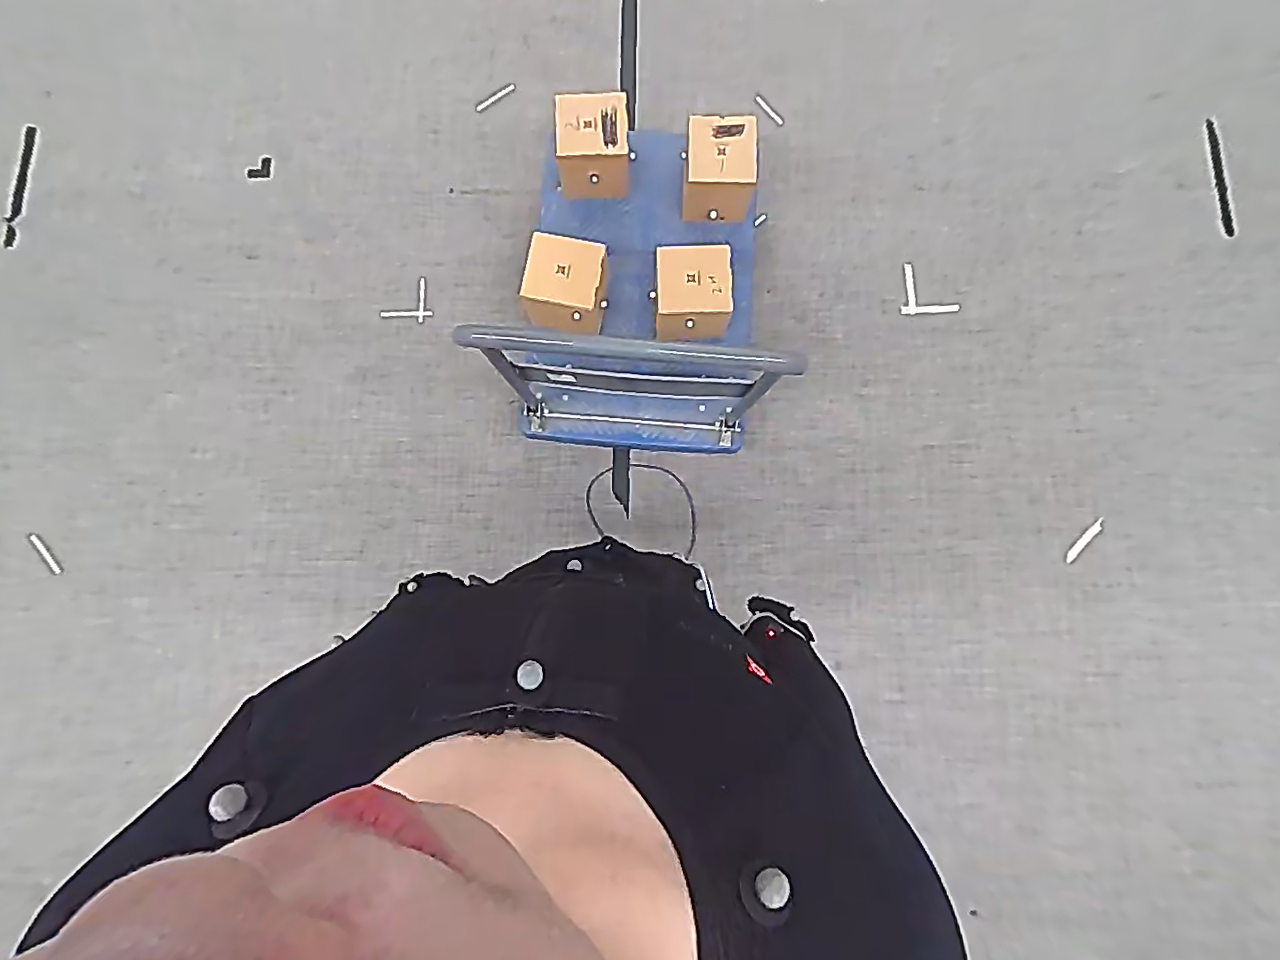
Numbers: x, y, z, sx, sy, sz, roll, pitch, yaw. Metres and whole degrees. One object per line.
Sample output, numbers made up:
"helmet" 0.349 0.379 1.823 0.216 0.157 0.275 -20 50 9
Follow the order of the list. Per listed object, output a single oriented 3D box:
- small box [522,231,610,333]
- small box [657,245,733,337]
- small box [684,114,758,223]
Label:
"small box" -0.176 -0.485 1.345 0.179 0.176 0.168 10 82 0
"small box" 0.129 -0.463 1.343 0.179 0.176 0.168 -1 83 0
"small box" 0.201 -0.791 1.383 0.168 0.176 0.179 2 84 0
